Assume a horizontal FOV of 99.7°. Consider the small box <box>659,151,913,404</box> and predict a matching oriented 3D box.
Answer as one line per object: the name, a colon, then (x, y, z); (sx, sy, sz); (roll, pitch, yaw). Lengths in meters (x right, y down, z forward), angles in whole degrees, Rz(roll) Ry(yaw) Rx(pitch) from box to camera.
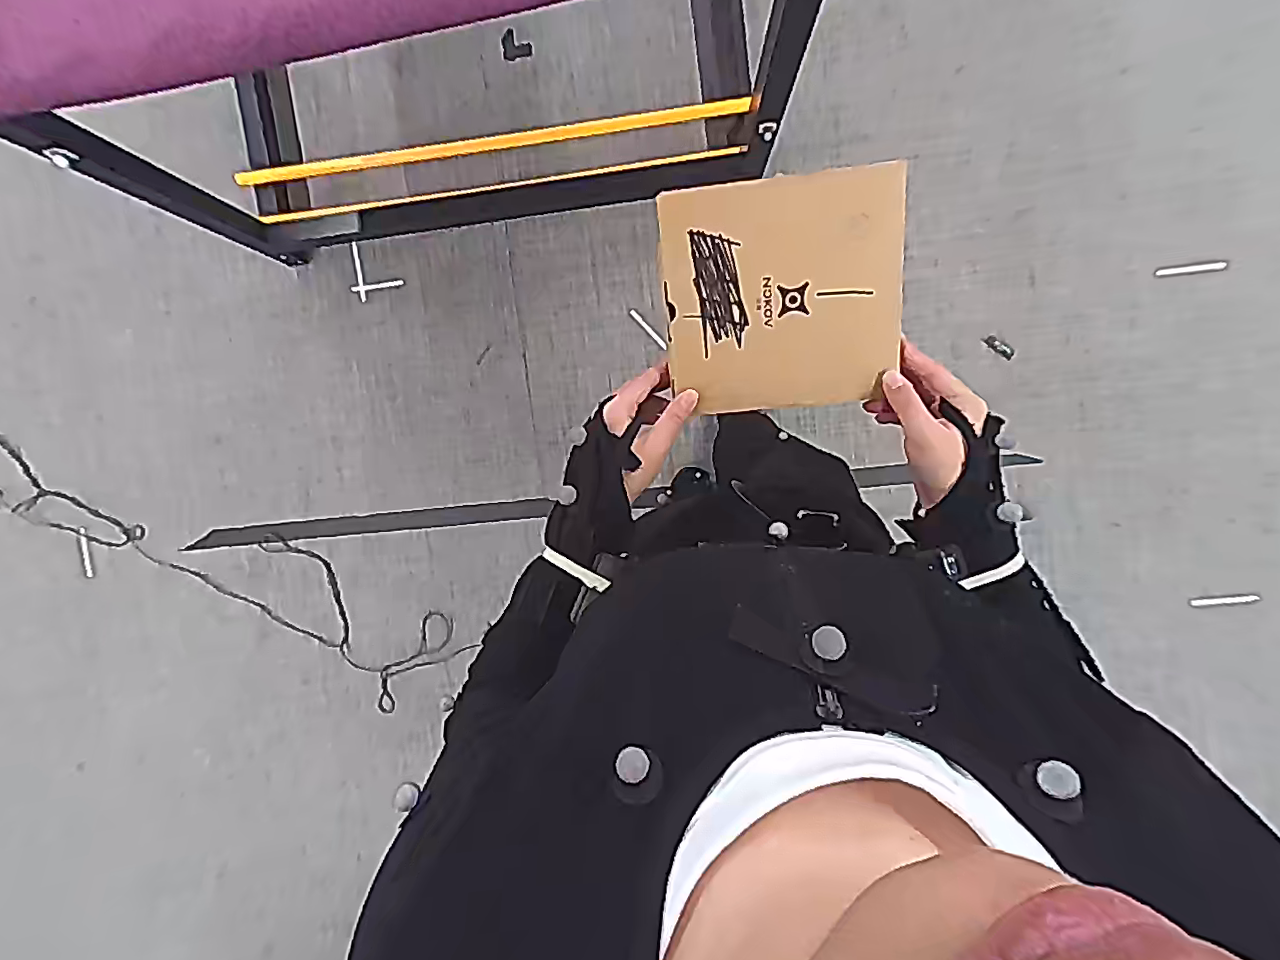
small box: (0.118, -0.166, 0.477); (0.179, 0.176, 0.168); (-3, 108, 9)
